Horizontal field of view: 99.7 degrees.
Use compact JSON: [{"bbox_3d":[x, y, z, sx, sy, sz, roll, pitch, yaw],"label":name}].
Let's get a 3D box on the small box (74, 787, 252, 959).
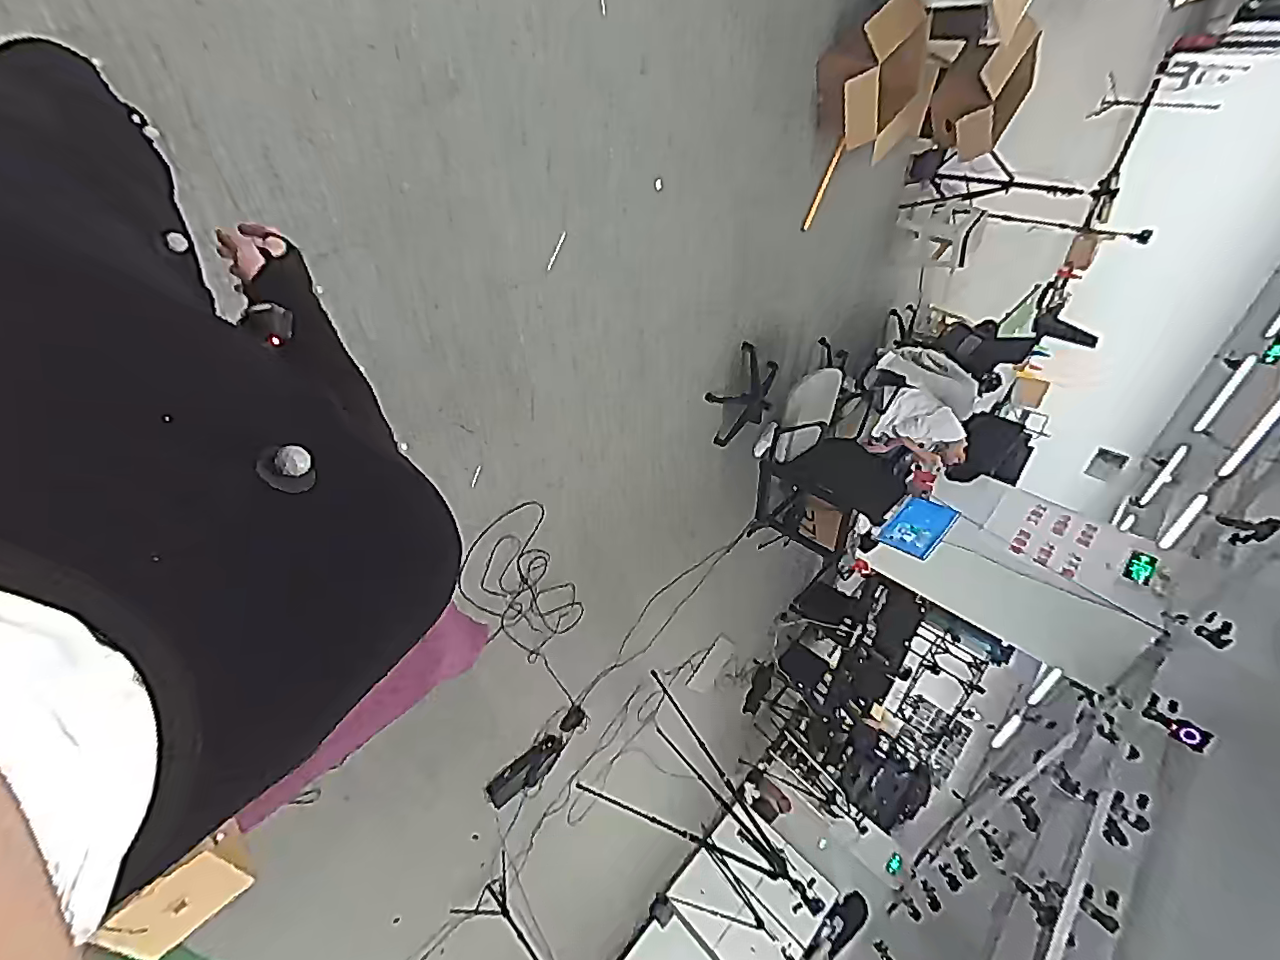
[{"bbox_3d":[-0.821,0.679,0.936,0.168,0.176,0.179,-34,138,-31],"label":"small box"}]
